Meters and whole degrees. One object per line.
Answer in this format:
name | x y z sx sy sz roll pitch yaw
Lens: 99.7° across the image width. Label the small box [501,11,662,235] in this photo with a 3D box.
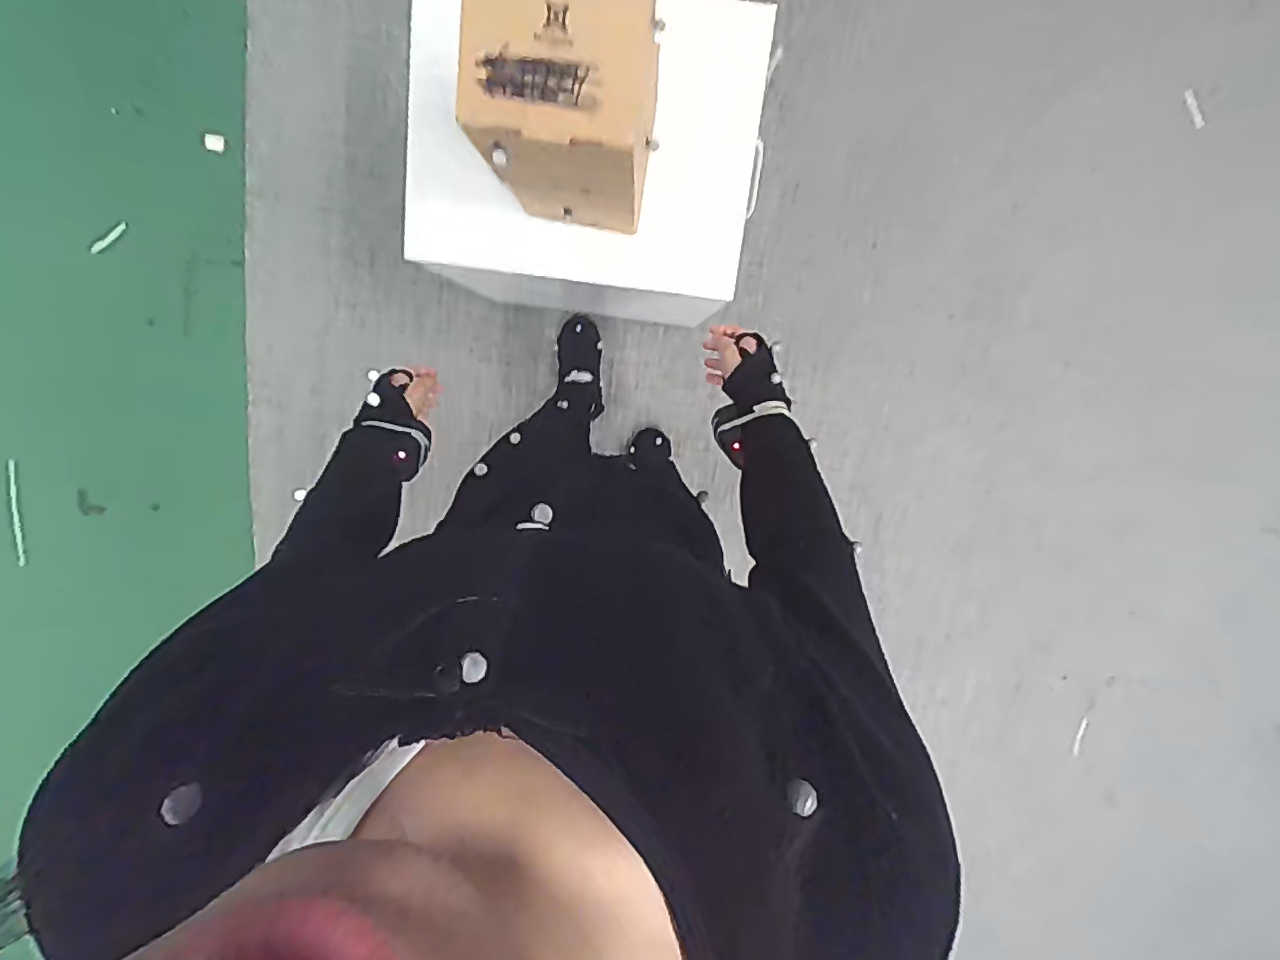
small box | -0.072 -0.444 0.704 0.168 0.176 0.179 10 100 -3
